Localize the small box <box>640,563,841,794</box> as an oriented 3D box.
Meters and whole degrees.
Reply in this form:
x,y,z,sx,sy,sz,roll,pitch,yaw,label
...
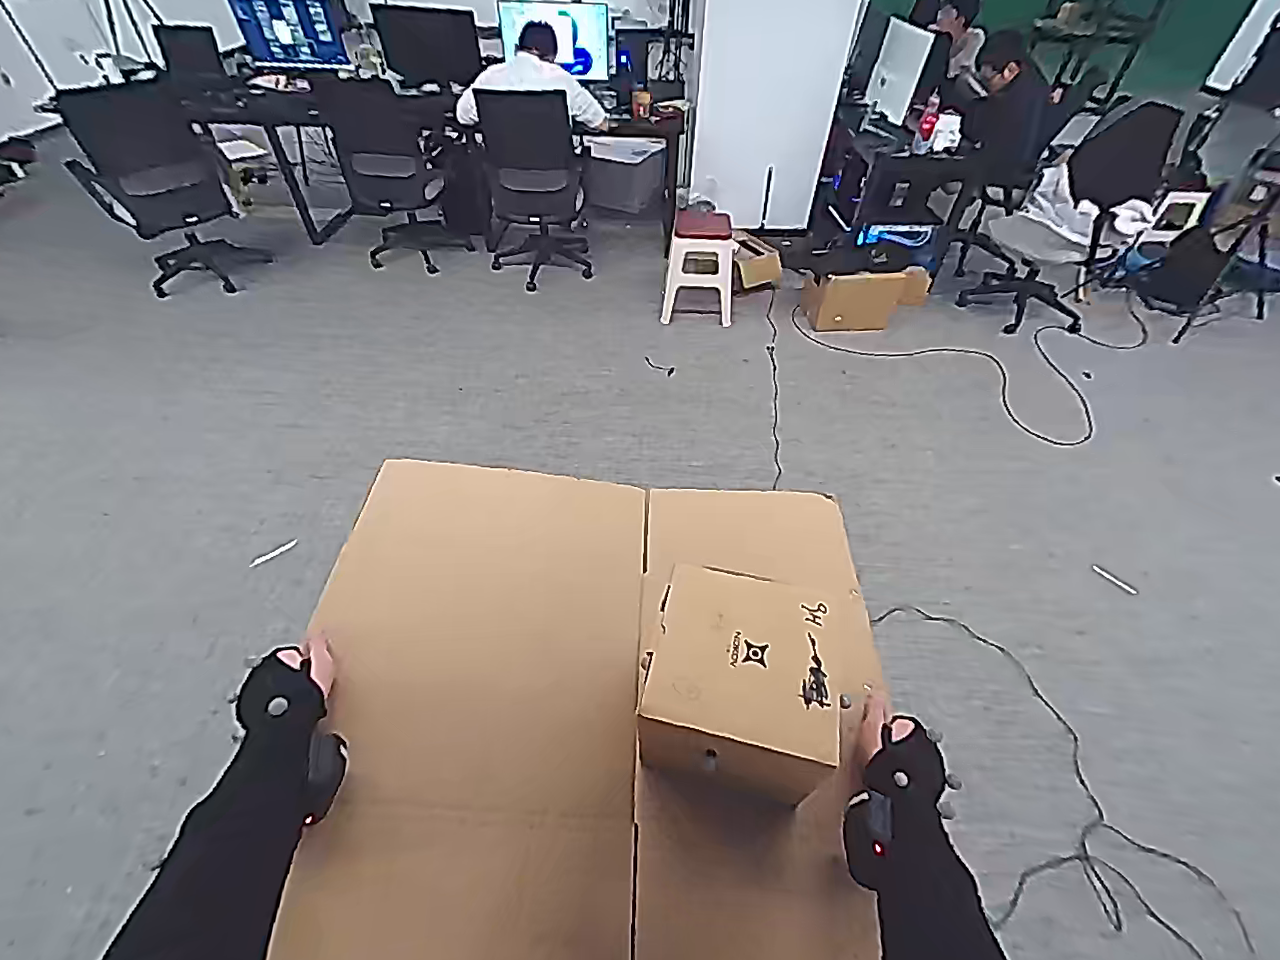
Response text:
x,y,z,sx,sy,sz,roll,pitch,yaw,label
0.106,0.215,0.582,0.179,0.176,0.168,9,51,11,small box
